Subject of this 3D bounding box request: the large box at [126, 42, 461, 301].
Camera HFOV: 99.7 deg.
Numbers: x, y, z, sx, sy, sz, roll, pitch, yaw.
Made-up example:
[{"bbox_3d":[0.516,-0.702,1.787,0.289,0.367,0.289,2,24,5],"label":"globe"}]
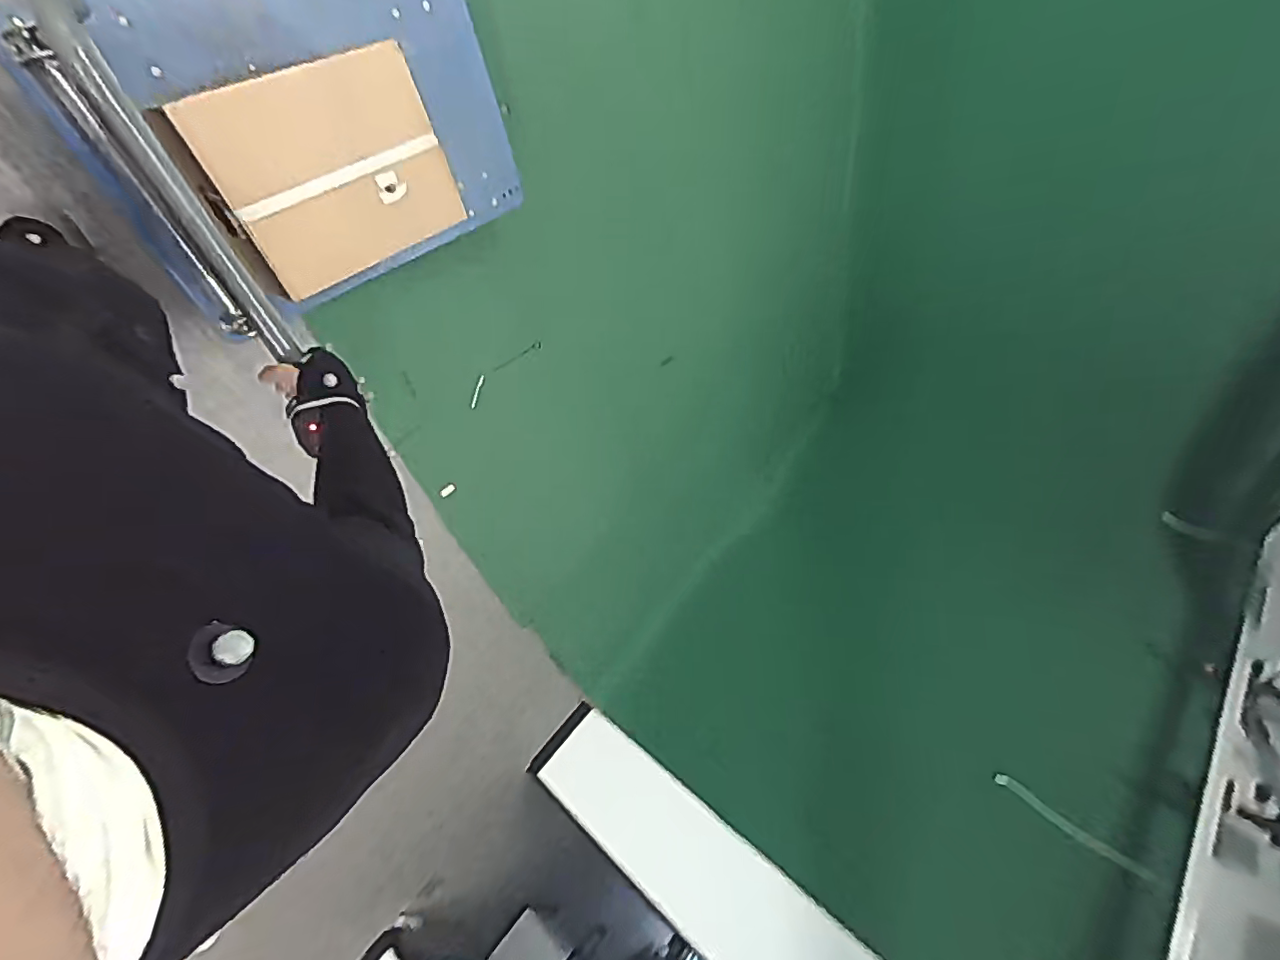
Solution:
[{"bbox_3d":[-0.652,-0.603,1.063,0.408,0.320,0.320,-44,140,-28],"label":"large box"}]
